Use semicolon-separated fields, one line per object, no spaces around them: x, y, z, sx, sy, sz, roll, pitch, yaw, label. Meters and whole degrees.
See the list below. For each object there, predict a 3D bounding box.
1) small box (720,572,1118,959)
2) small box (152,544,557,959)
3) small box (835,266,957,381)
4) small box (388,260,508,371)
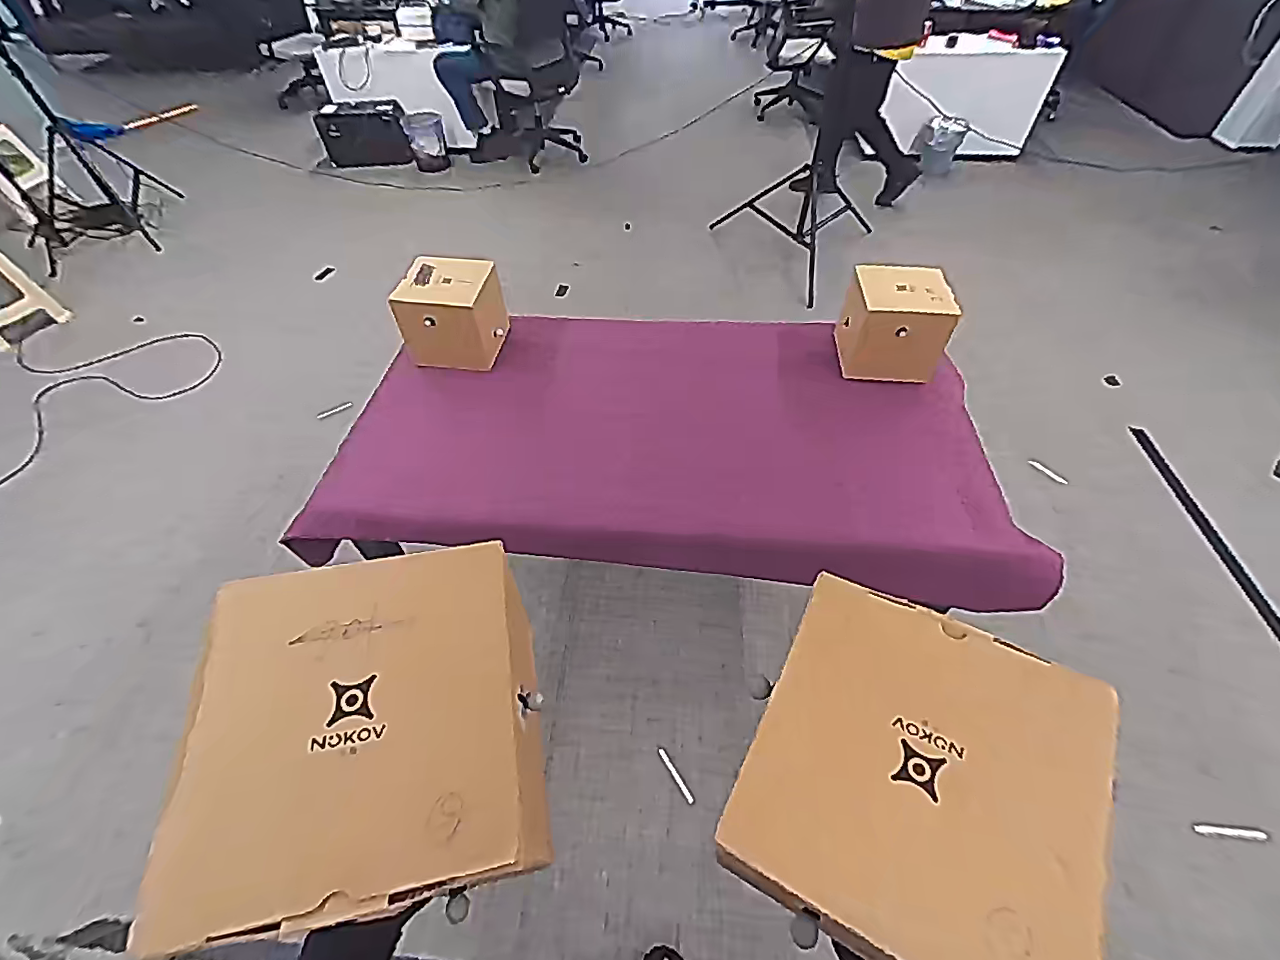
0.163;0.198;0.352;0.168;0.176;0.179;20;57;23;small box
-0.150;0.168;0.352;0.168;0.176;0.179;-8;55;-10;small box
0.517;-0.324;1.128;0.179;0.176;0.168;4;51;4;small box
-0.404;-0.354;1.174;0.179;0.176;0.168;6;53;4;small box
